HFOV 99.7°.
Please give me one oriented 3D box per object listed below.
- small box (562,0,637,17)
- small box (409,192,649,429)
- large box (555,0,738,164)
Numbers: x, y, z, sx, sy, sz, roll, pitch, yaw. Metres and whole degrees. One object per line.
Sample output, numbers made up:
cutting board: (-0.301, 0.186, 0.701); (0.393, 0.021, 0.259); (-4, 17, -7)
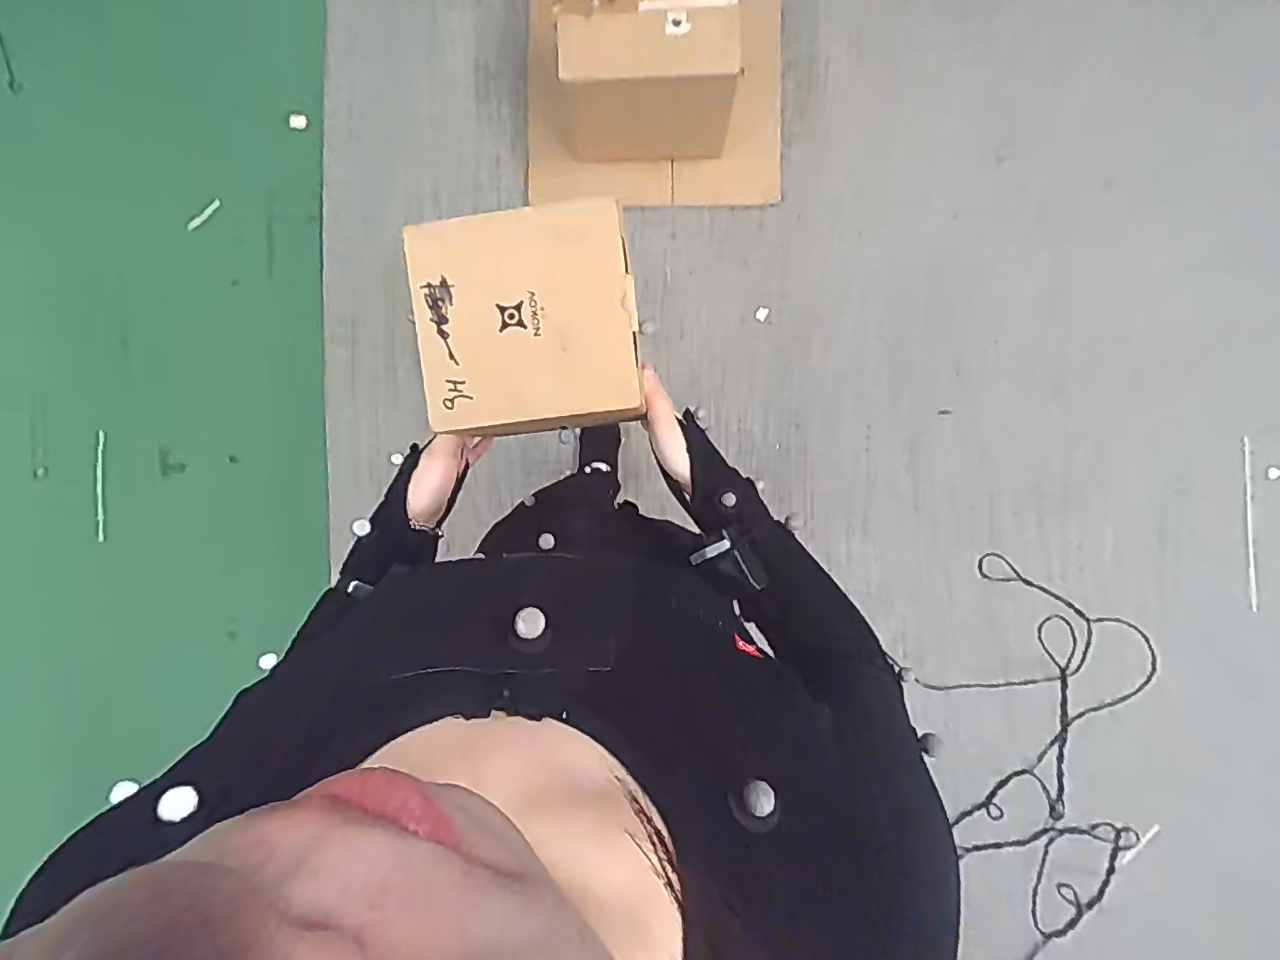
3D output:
small box: (-0.092, -1.098, 1.097); (0.168, 0.176, 0.179); (-3, 89, 1)
small box: (-0.087, -0.139, 0.505); (0.179, 0.176, 0.168); (-6, 92, 1)
large box: (0.011, -1.028, 1.338); (0.408, 0.320, 0.320); (-2, 90, 0)
